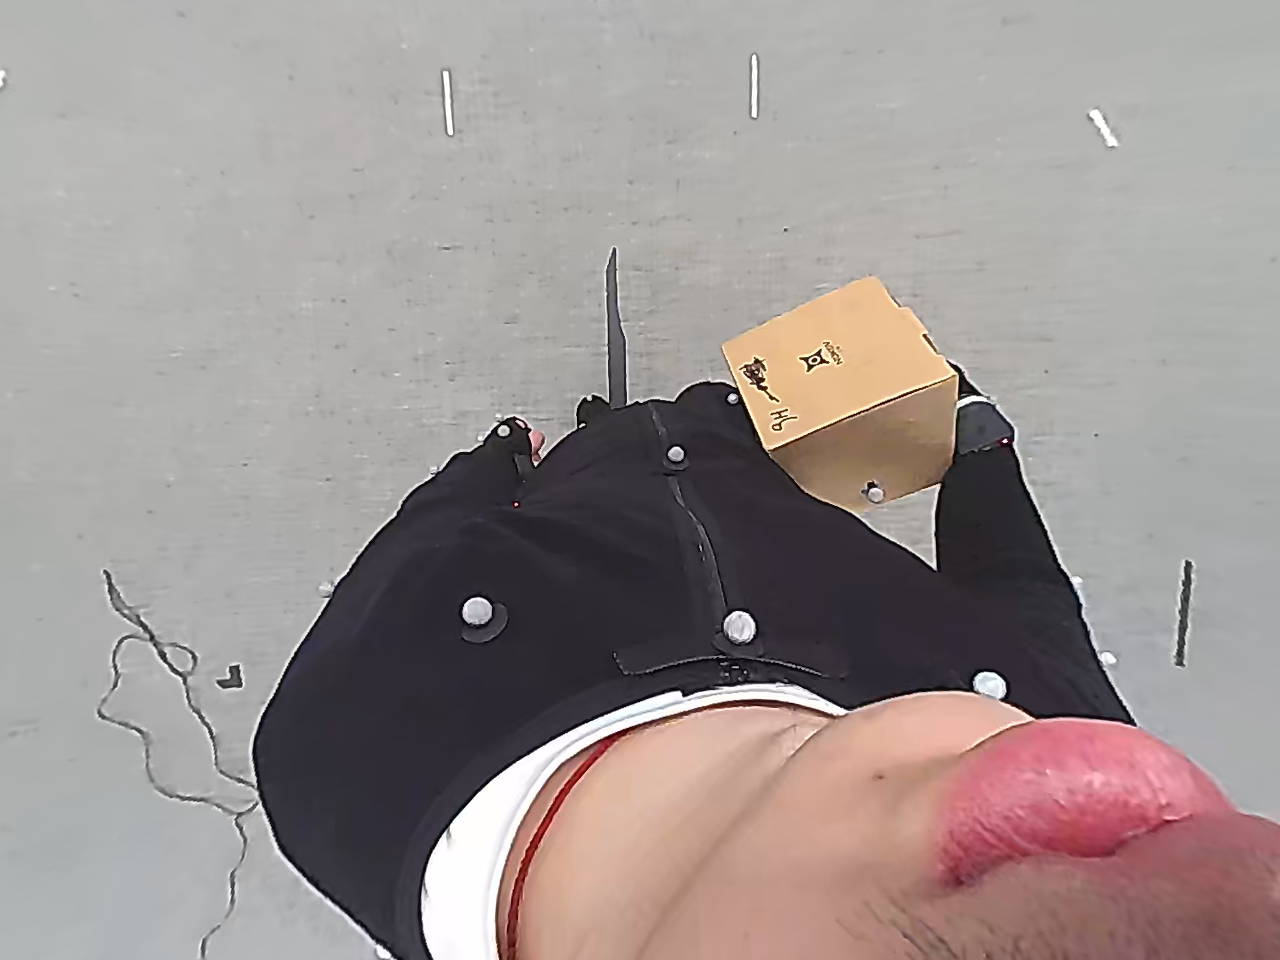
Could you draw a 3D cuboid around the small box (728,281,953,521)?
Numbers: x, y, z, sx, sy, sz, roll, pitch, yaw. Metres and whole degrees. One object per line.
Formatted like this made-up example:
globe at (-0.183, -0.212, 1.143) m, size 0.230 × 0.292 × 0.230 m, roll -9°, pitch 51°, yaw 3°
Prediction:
small box at (0.220, -0.081, 0.610) m, size 0.179 × 0.168 × 0.176 m, roll -22°, pitch 139°, yaw 12°
